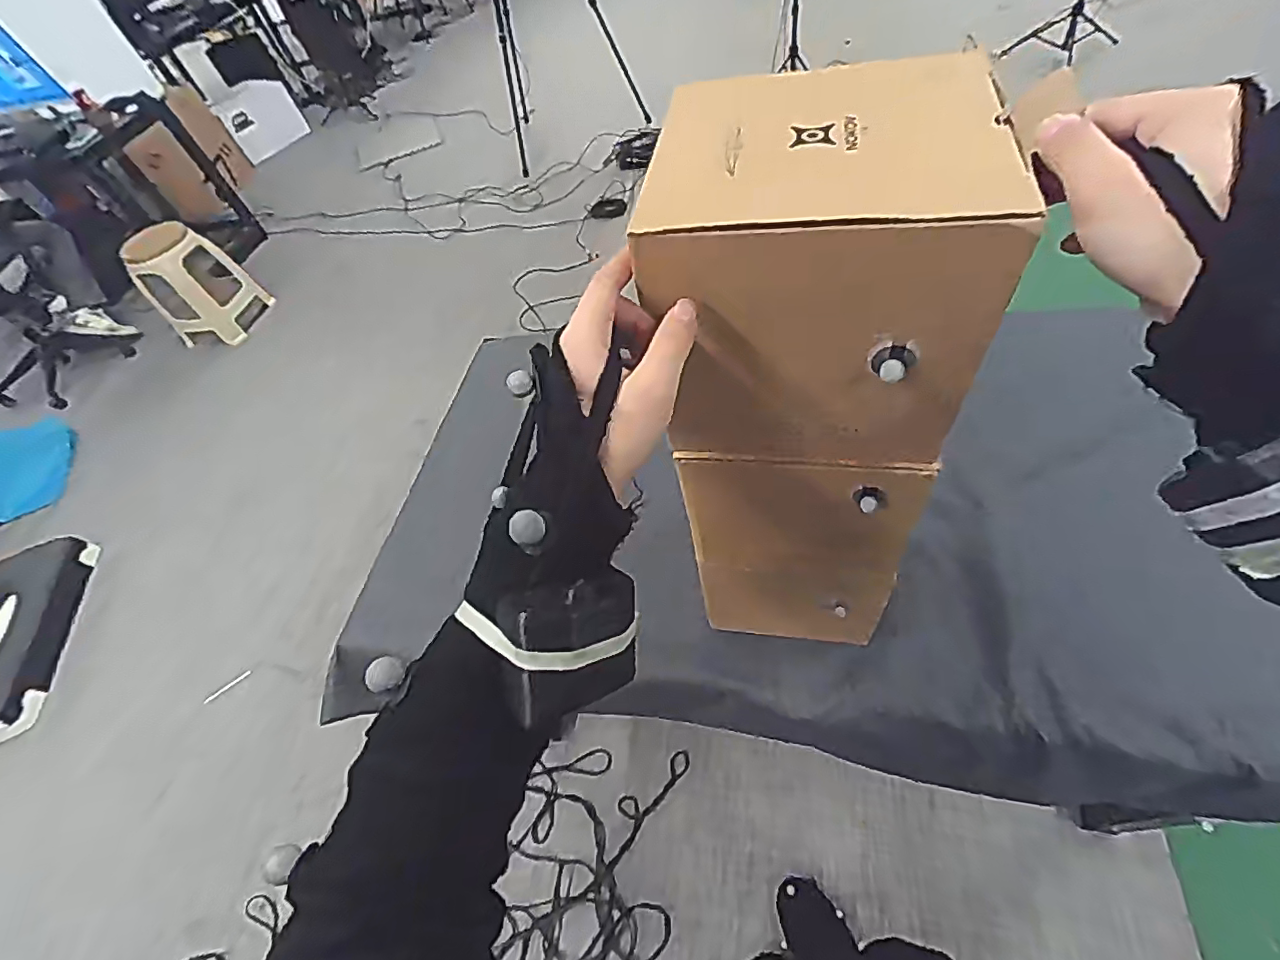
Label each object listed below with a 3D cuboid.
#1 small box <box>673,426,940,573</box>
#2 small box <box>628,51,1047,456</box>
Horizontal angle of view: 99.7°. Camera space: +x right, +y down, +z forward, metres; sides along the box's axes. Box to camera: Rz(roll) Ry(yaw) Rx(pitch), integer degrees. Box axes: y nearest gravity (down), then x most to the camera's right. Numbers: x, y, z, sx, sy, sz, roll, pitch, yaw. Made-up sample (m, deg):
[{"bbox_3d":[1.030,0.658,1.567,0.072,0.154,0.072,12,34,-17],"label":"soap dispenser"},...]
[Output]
[{"bbox_3d":[0.135,-0.031,0.469,0.179,0.176,0.168,3,56,14],"label":"small box"},{"bbox_3d":[0.106,-0.128,0.340,0.179,0.176,0.168,3,55,15],"label":"small box"}]
